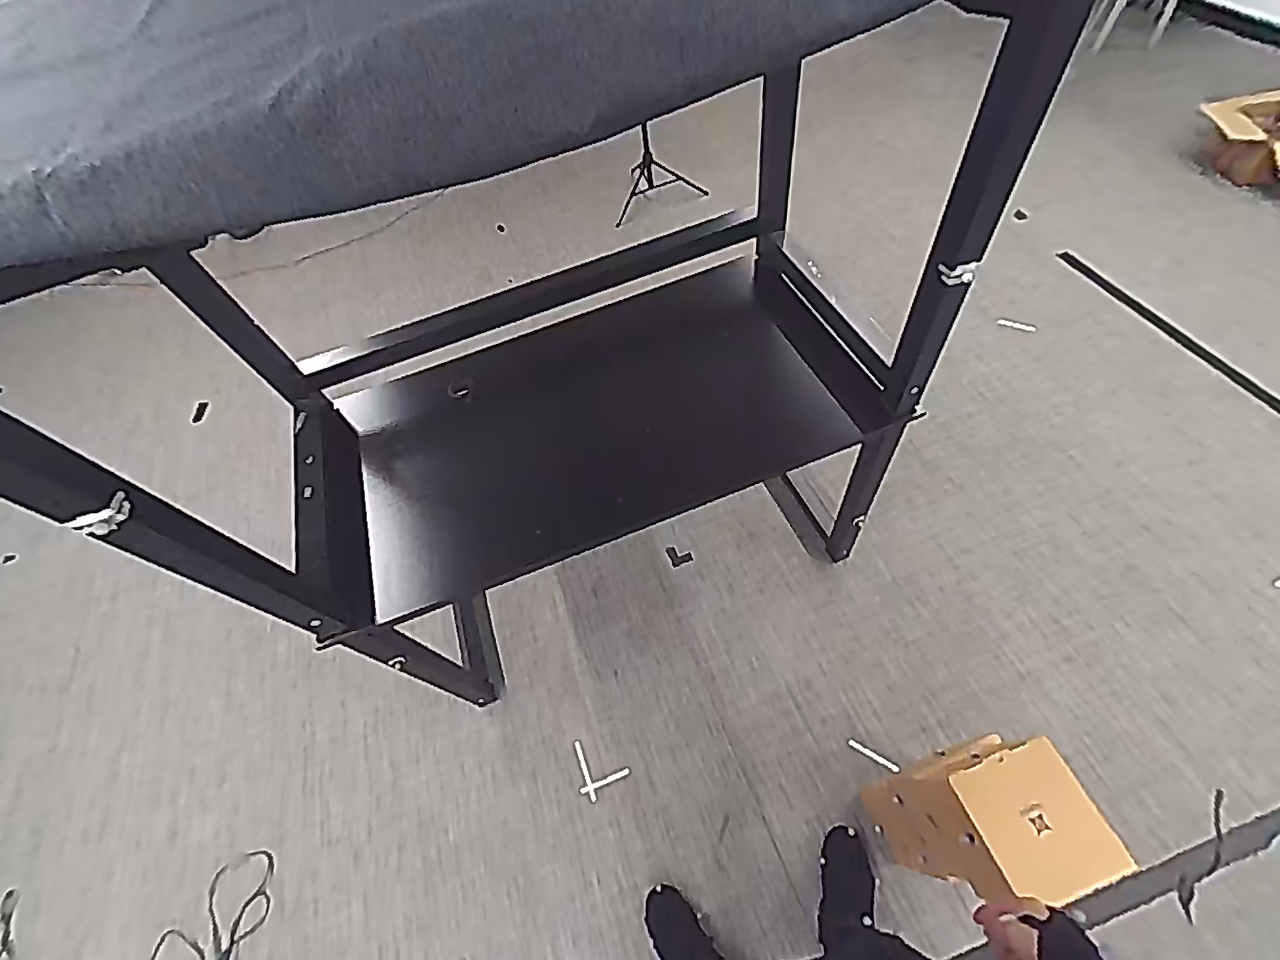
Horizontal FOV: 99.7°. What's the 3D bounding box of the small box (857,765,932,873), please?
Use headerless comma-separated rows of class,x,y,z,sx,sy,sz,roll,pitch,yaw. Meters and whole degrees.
small box,0.629,0.763,1.236,0.179,0.176,0.168,-22,57,-4

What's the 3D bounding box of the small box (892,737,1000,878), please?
small box,0.578,0.585,0.964,0.179,0.176,0.168,-22,58,-6

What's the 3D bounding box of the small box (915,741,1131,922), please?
small box,0.555,0.519,0.816,0.168,0.176,0.179,-20,58,-4
